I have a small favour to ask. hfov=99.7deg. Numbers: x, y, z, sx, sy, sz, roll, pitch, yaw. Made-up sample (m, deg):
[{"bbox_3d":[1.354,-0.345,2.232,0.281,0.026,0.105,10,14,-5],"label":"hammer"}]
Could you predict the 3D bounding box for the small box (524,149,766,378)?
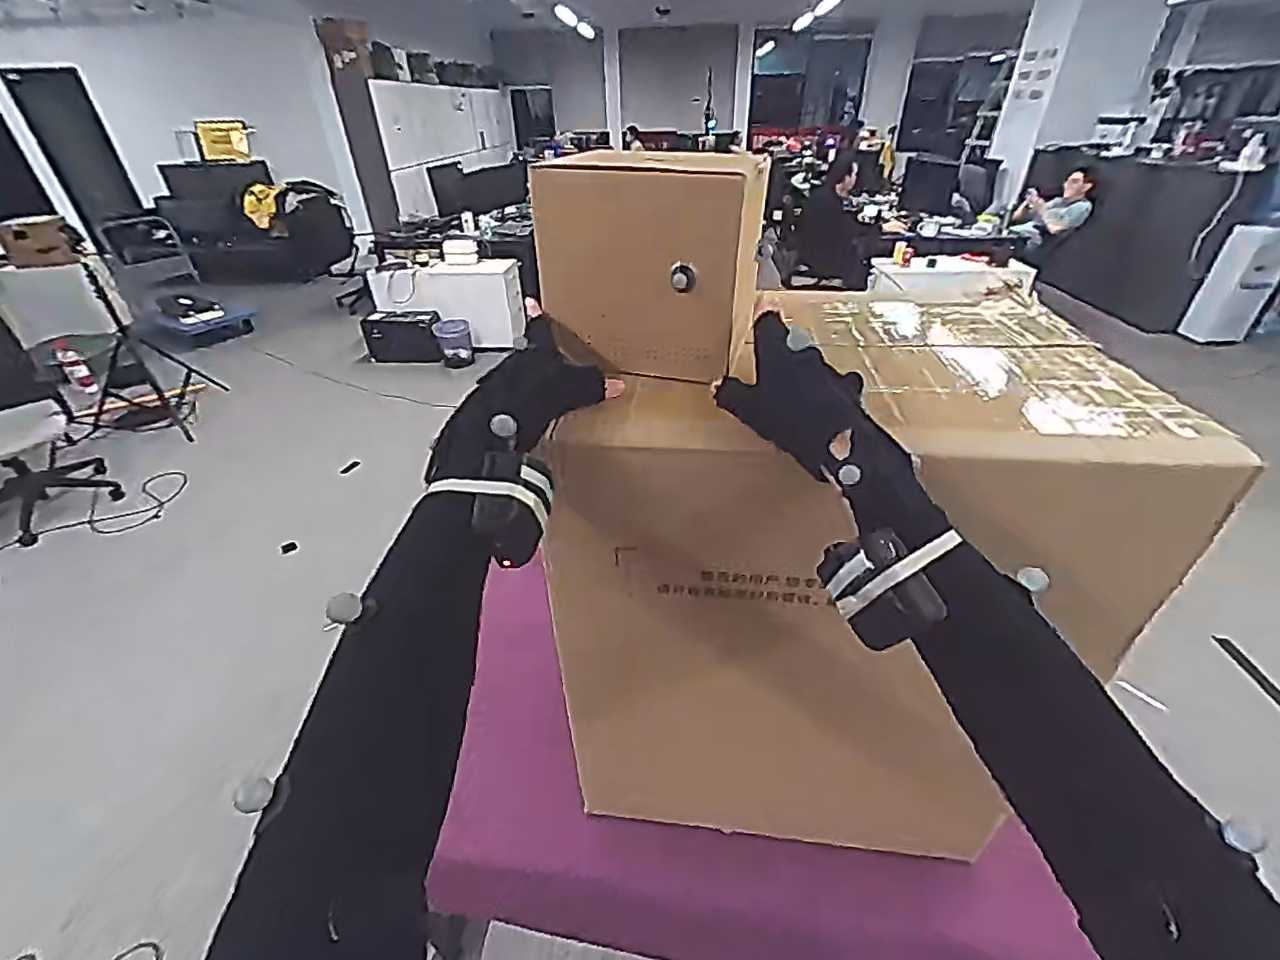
[{"bbox_3d":[0.014,-0.208,0.513,0.179,0.176,0.168,9,35,14],"label":"small box"}]
